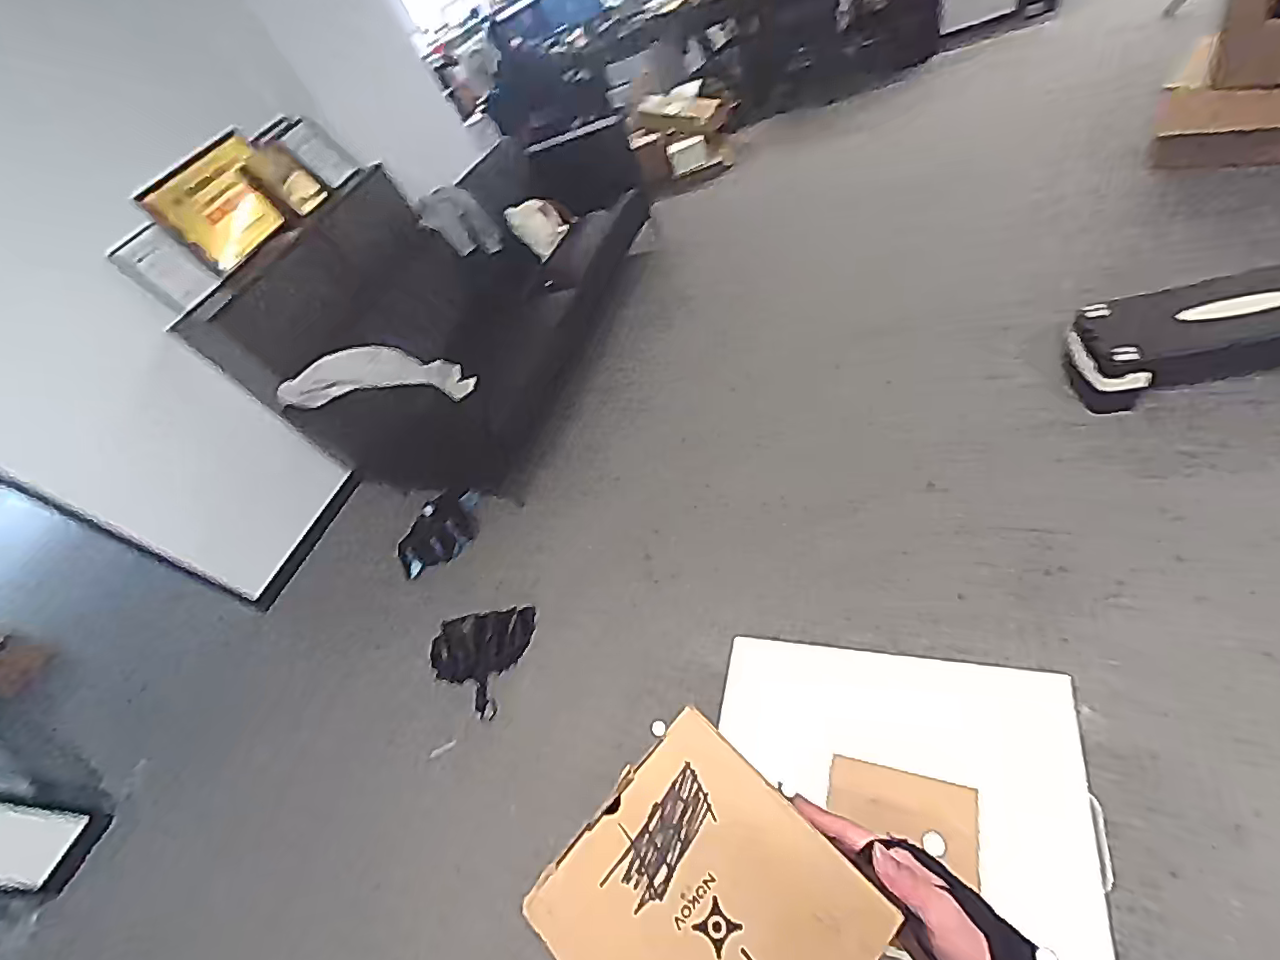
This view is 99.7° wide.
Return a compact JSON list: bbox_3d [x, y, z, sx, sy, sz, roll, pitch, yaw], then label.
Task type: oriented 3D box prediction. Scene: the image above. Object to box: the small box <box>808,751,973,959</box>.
[{"bbox_3d":[0.321,0.476,0.682,0.168,0.176,0.179,2,52,29],"label":"small box"}]
